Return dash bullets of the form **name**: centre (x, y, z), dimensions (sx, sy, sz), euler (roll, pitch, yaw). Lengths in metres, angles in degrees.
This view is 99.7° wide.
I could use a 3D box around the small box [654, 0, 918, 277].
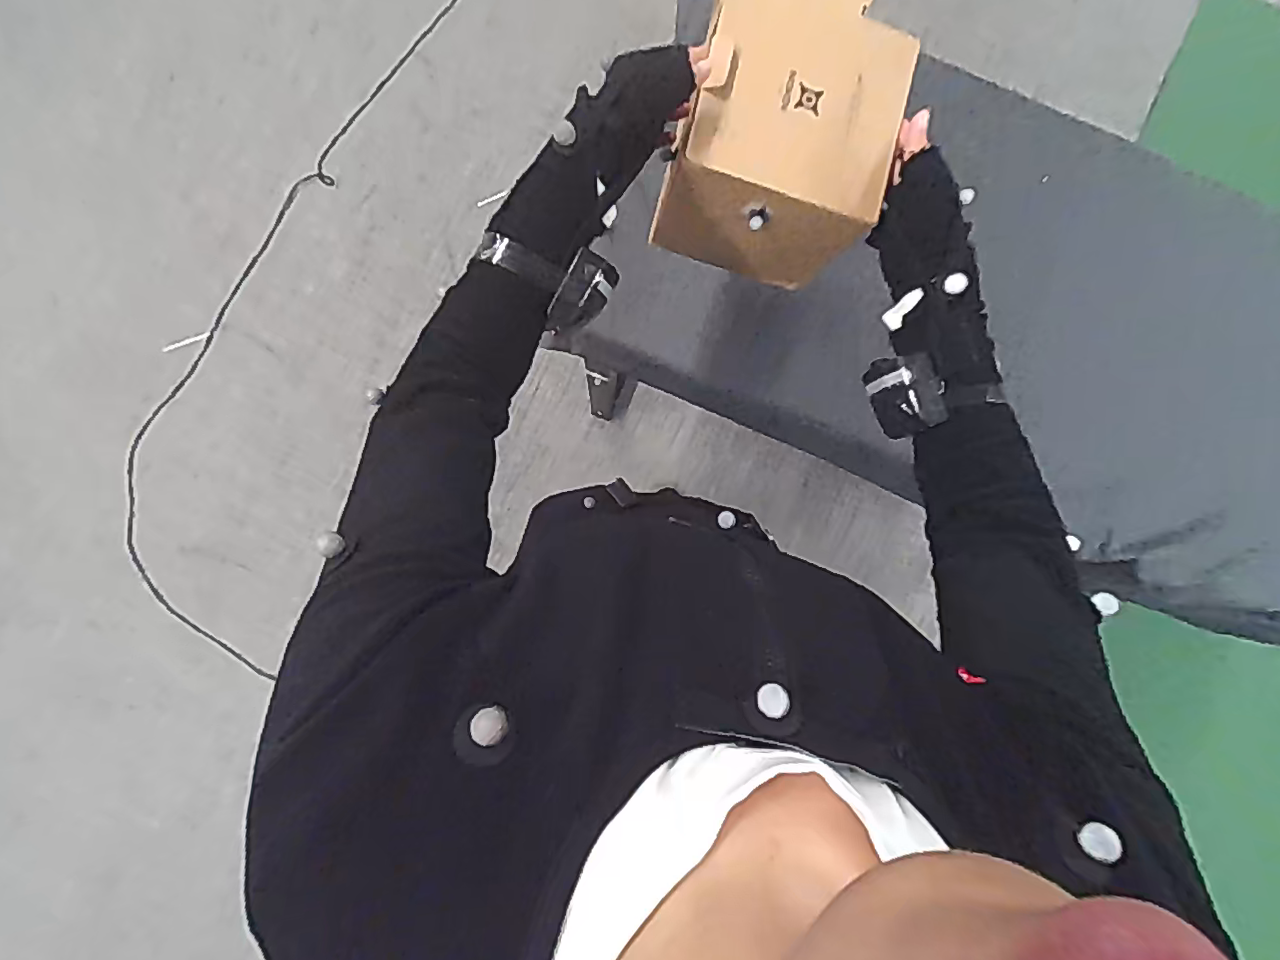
- **small box**: centre (0.122, -0.319, 0.522), dimensions (0.179, 0.176, 0.168), euler (14, 89, -9)
